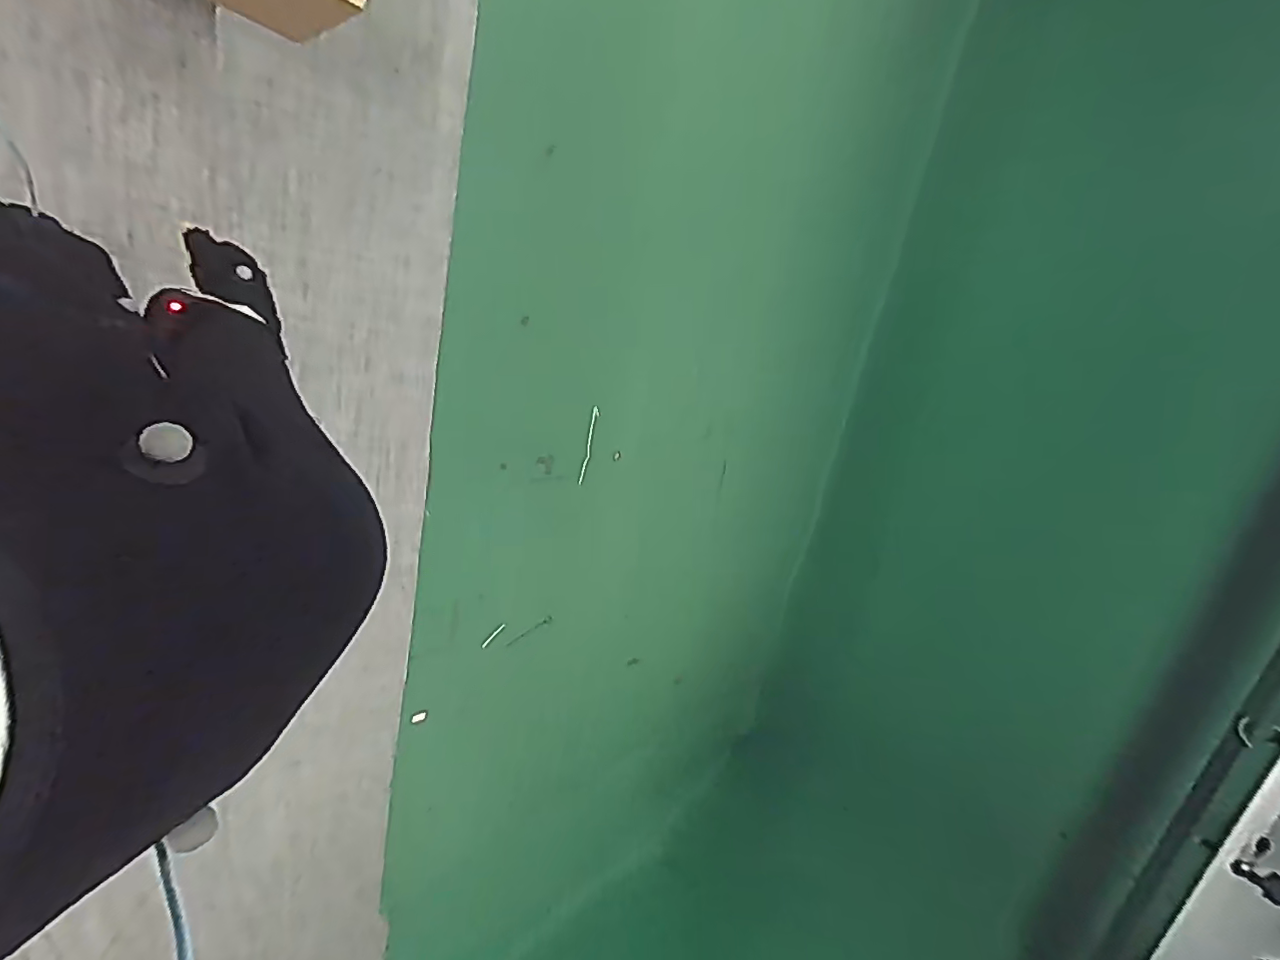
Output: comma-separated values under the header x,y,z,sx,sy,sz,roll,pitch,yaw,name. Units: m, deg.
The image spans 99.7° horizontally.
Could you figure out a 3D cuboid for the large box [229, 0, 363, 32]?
x,y,z,sx,sy,sz,roll,pitch,yaw,name
-0.627,-0.908,0.733,0.408,0.320,0.320,-3,112,-48,large box
